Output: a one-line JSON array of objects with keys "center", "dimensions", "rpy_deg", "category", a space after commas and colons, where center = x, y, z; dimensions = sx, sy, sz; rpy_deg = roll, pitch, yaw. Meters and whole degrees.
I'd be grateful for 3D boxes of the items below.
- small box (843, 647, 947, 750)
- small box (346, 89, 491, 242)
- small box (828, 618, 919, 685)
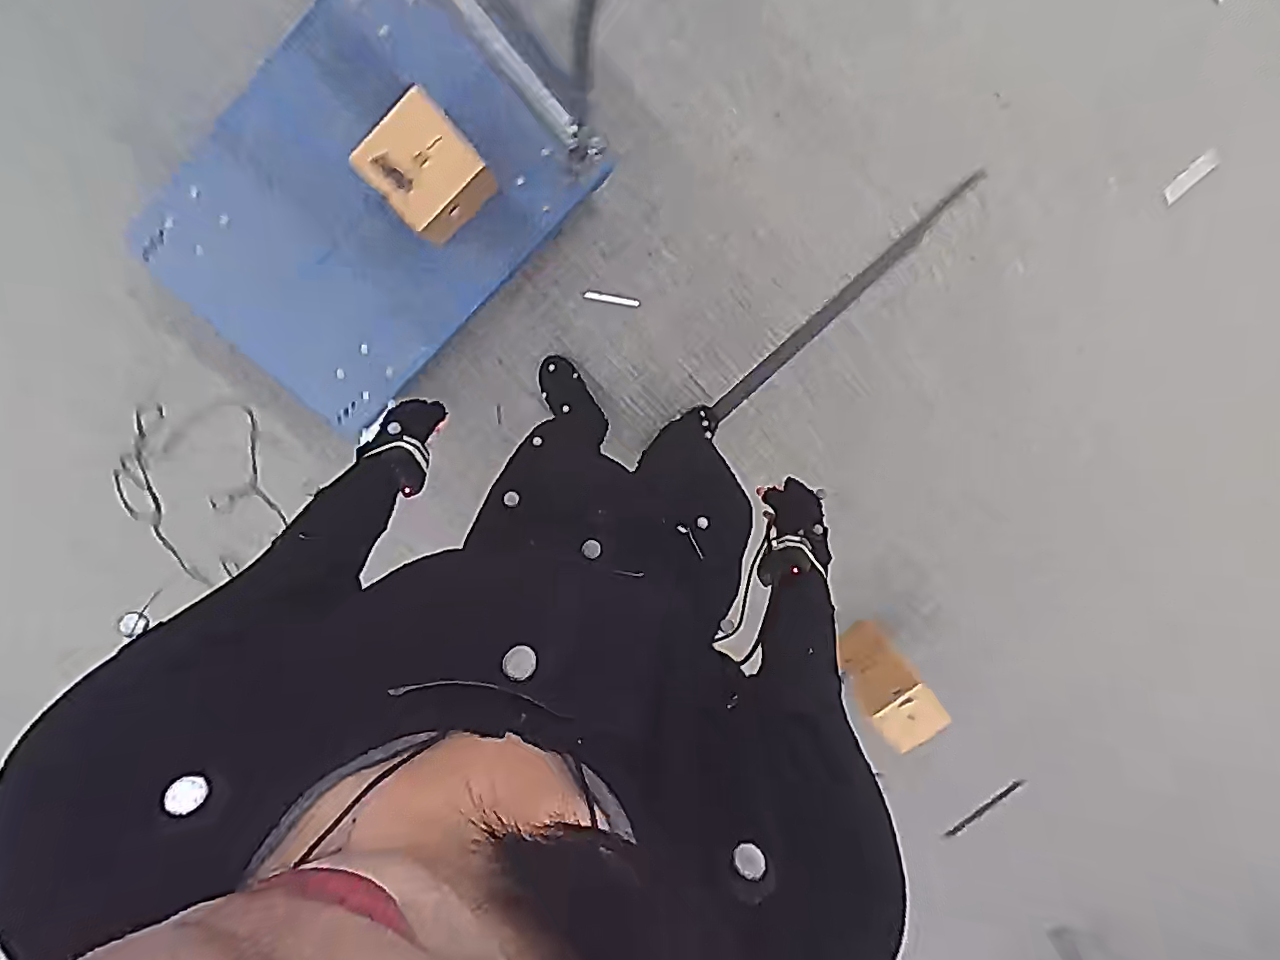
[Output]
[{"center": [0.718, 0.614, 1.535], "dimensions": [0.168, 0.176, 0.179], "rpy_deg": [-40, 107, 7], "category": "small box"}, {"center": [-0.413, -0.589, 1.044], "dimensions": [0.179, 0.176, 0.168], "rpy_deg": [-42, 105, 7], "category": "small box"}, {"center": [0.719, 0.571, 1.693], "dimensions": [0.168, 0.176, 0.179], "rpy_deg": [41, 98, -16], "category": "small box"}]
